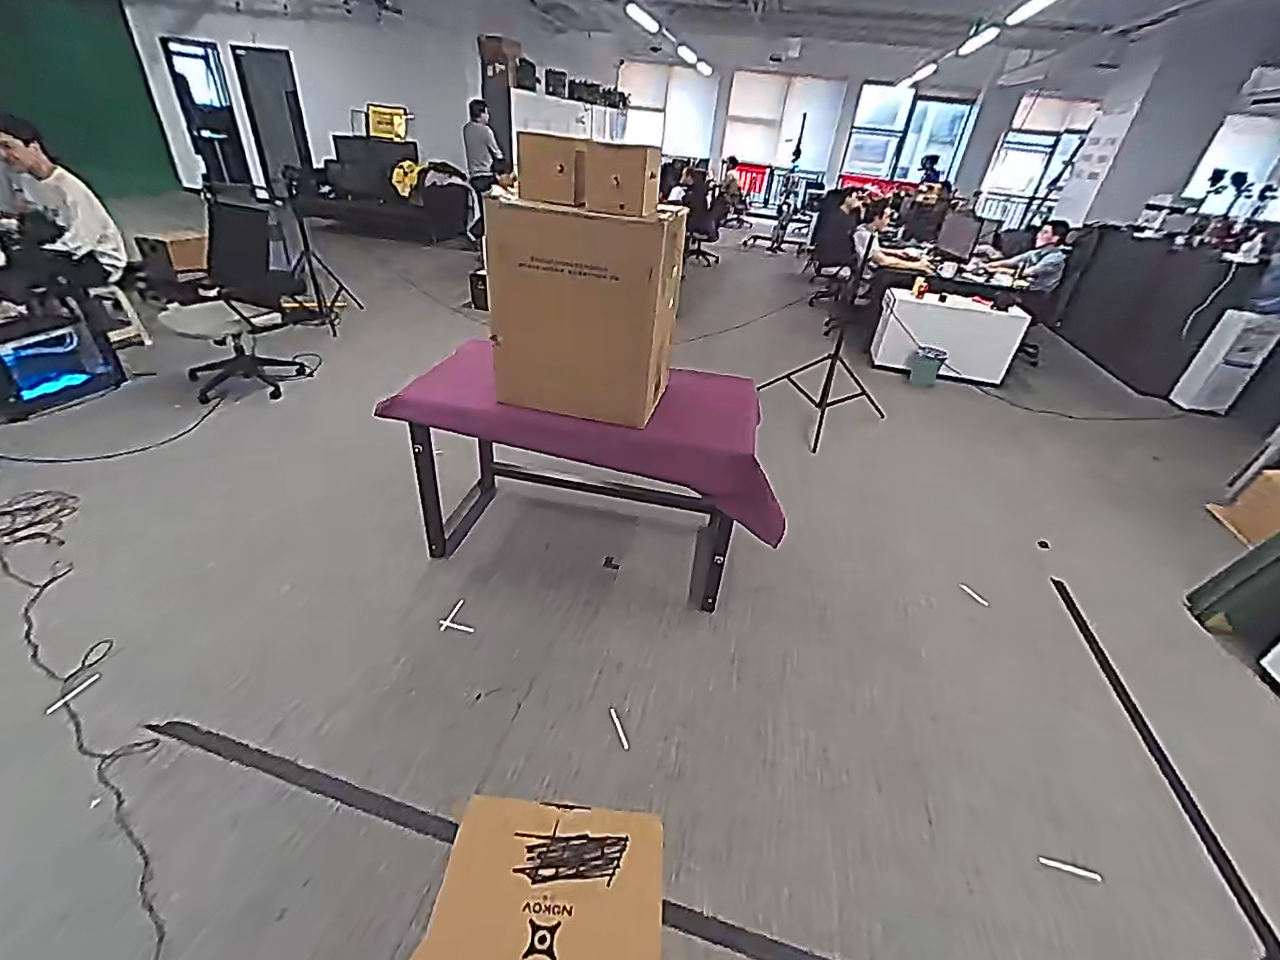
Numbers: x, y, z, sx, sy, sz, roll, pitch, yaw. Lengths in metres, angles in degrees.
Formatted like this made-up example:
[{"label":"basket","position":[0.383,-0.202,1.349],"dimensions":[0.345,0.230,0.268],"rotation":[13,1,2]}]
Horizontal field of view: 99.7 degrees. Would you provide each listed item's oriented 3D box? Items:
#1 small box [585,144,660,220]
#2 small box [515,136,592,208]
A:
[{"label":"small box","position":[-0.047,-0.827,1.502],"dimensions":[0.168,0.176,0.179],"rotation":[11,33,9]},{"label":"small box","position":[-0.248,-0.897,1.577],"dimensions":[0.179,0.176,0.168],"rotation":[11,32,8]}]
